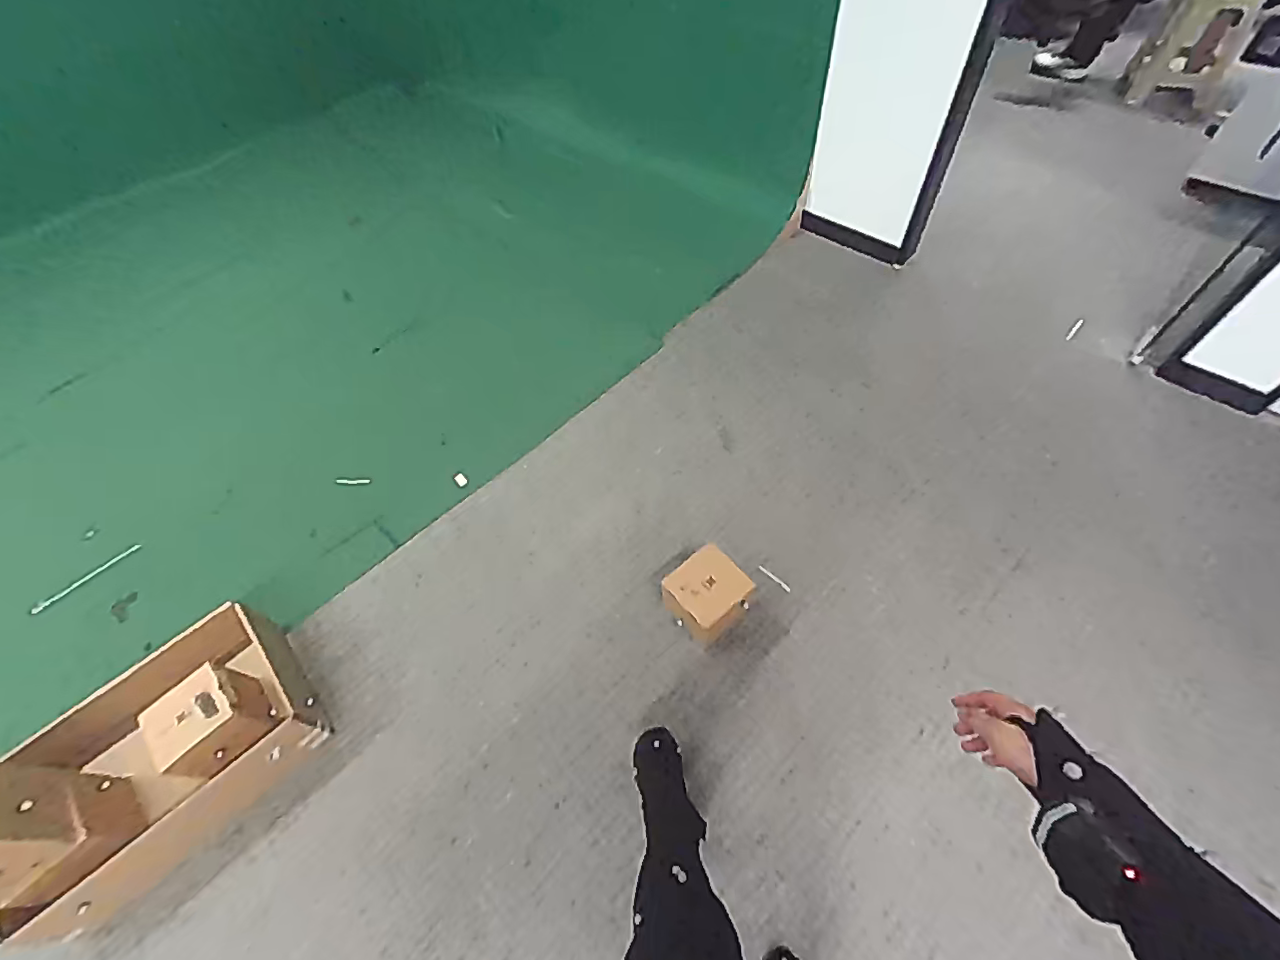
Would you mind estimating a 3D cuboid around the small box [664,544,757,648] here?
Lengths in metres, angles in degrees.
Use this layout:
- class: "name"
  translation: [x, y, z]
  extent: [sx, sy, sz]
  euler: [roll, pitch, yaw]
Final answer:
- class: "small box"
  translation: [0.178, 0.305, 1.406]
  extent: [0.179, 0.176, 0.168]
  euler: [-36, 60, -17]

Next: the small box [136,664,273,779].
- class: "small box"
  translation: [-1.009, 0.571, 1.273]
  extent: [0.179, 0.176, 0.168]
  euler: [-40, 63, -19]

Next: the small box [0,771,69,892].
- class: "small box"
  translation: [-1.255, 0.678, 1.027]
  extent: [0.168, 0.176, 0.179]
  euler: [-38, 63, -18]
